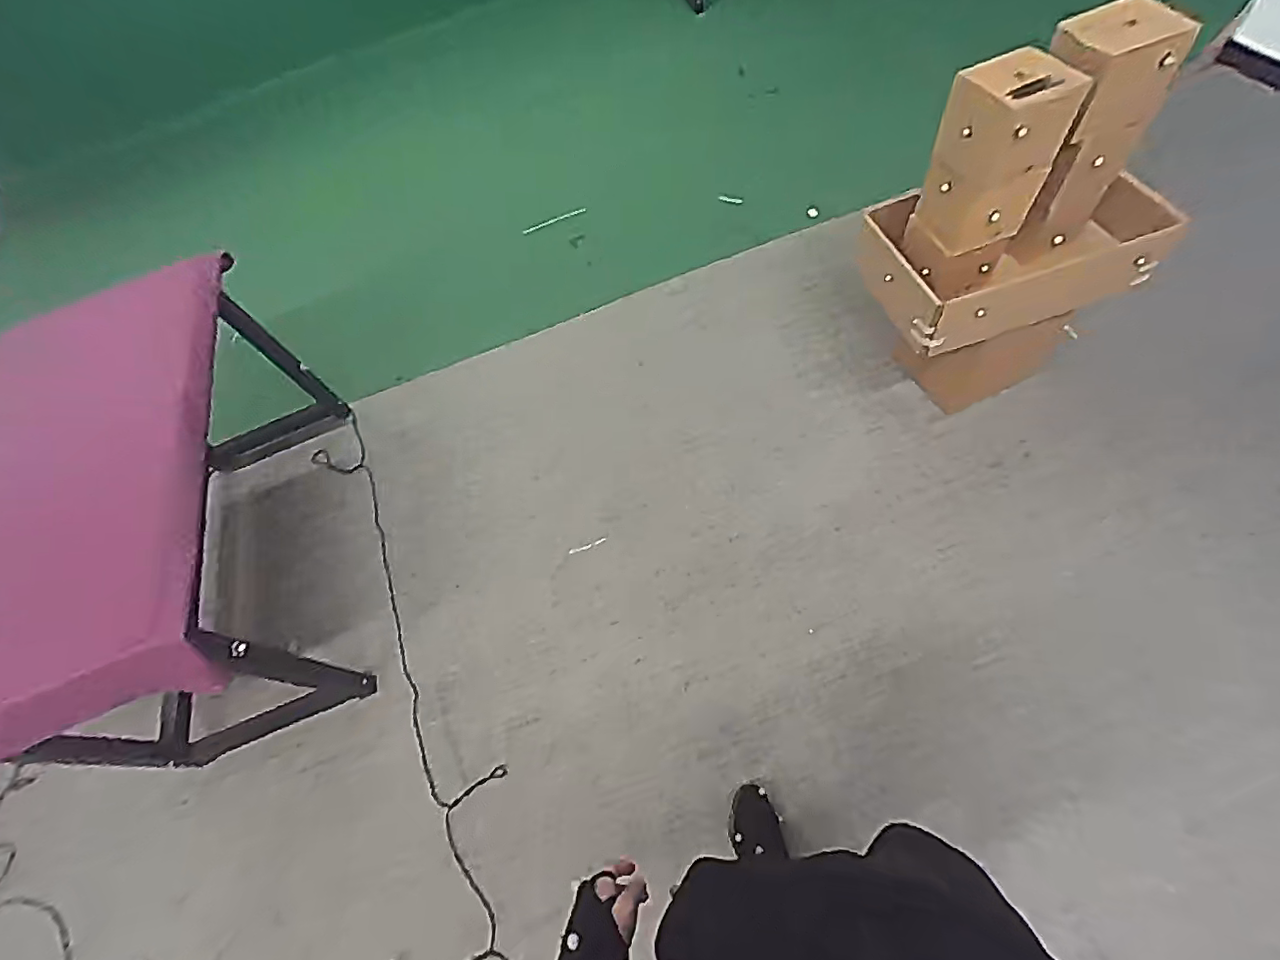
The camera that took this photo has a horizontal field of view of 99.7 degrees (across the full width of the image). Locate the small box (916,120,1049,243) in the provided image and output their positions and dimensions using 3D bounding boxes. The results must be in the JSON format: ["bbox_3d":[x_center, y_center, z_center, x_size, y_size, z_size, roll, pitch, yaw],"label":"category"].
[{"bbox_3d":[0.774,-0.675,1.245,0.168,0.176,0.179,-21,60,-1],"label":"small box"}]

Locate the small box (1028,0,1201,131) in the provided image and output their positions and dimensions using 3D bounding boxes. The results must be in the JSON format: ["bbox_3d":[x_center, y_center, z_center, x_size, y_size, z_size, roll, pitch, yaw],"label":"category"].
[{"bbox_3d":[0.960,-0.869,1.116,0.179,0.176,0.168,-19,60,3],"label":"small box"}]

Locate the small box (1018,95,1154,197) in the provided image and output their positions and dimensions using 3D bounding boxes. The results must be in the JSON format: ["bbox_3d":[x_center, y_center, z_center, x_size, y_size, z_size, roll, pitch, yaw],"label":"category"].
[{"bbox_3d":[1.008,-0.801,1.260,0.179,0.176,0.168,-25,61,0],"label":"small box"}]
